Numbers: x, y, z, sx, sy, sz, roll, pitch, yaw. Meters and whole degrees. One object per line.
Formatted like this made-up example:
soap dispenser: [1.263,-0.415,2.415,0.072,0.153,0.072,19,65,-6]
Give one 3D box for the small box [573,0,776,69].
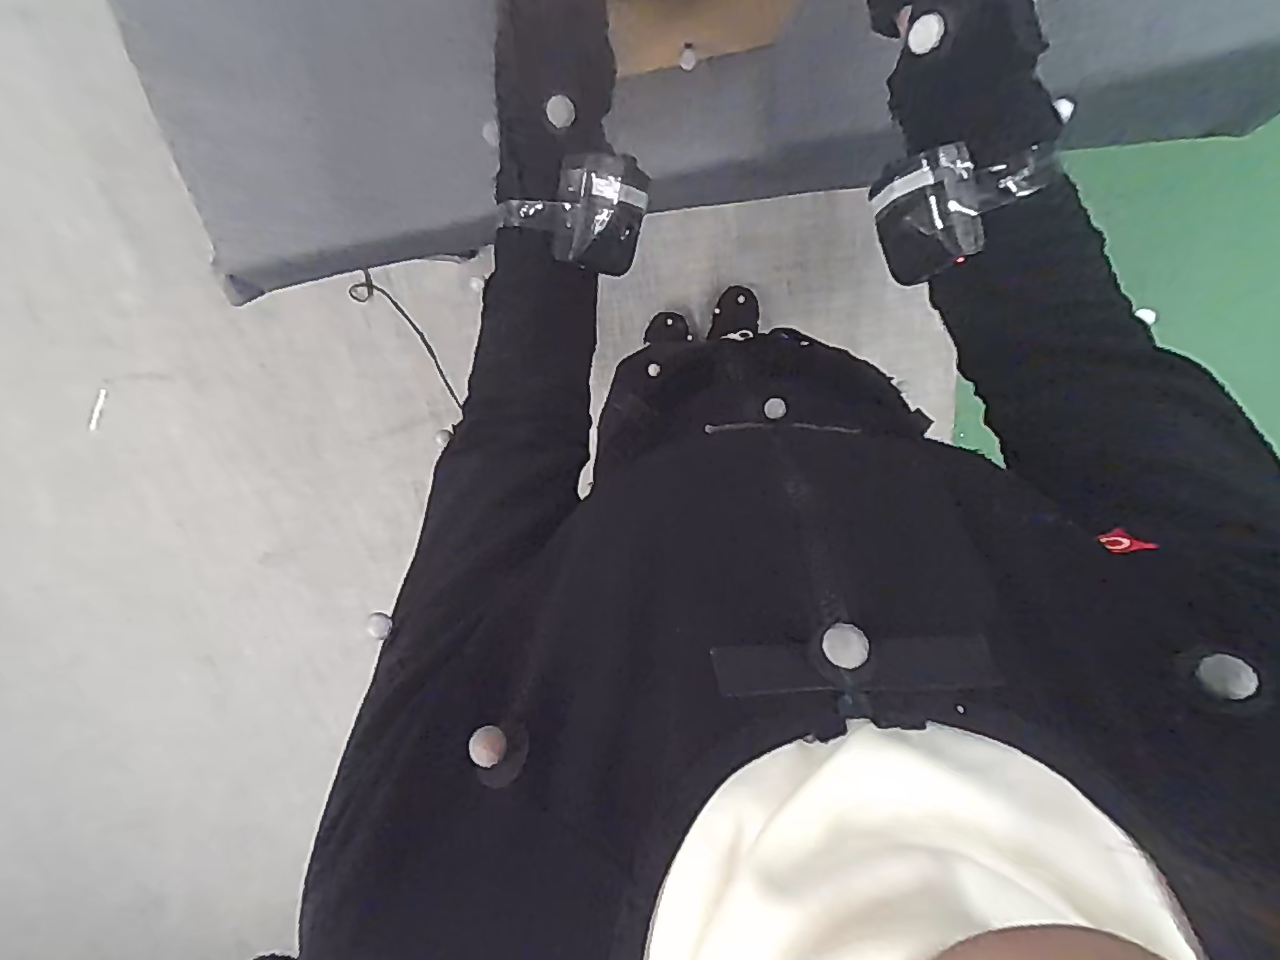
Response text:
small box: [0.024,-0.467,0.432,0.179,0.176,0.168,-8,110,5]
